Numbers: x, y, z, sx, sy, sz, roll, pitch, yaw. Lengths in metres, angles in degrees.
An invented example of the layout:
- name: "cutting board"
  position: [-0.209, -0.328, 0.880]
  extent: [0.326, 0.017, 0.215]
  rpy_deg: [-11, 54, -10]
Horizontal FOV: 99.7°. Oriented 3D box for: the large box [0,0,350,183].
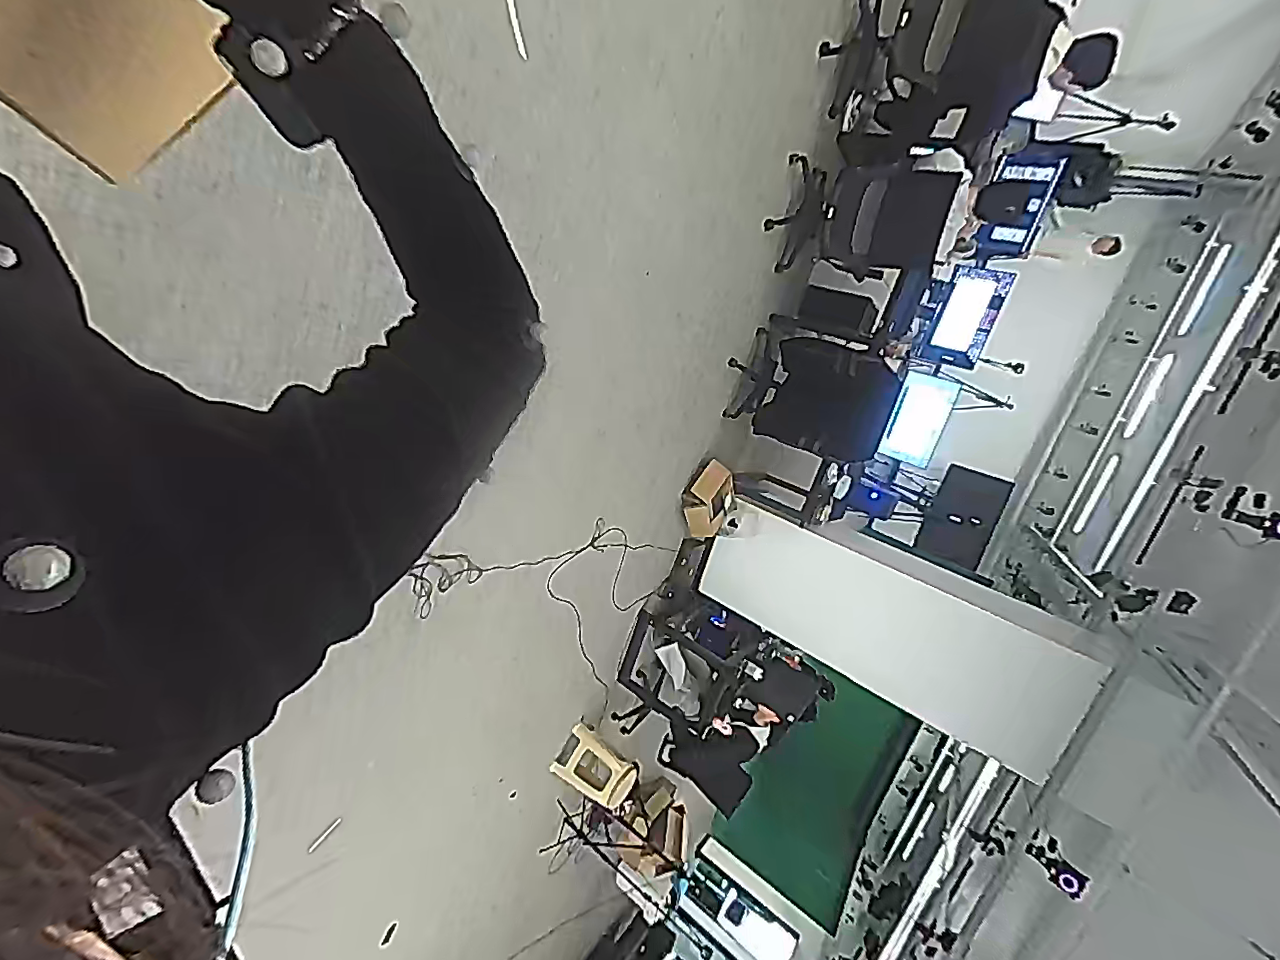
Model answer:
- name: "large box"
  position: [-0.376, -0.442, 0.232]
  extent: [0.320, 0.408, 0.320]
  rpy_deg: [-54, -169, -9]
